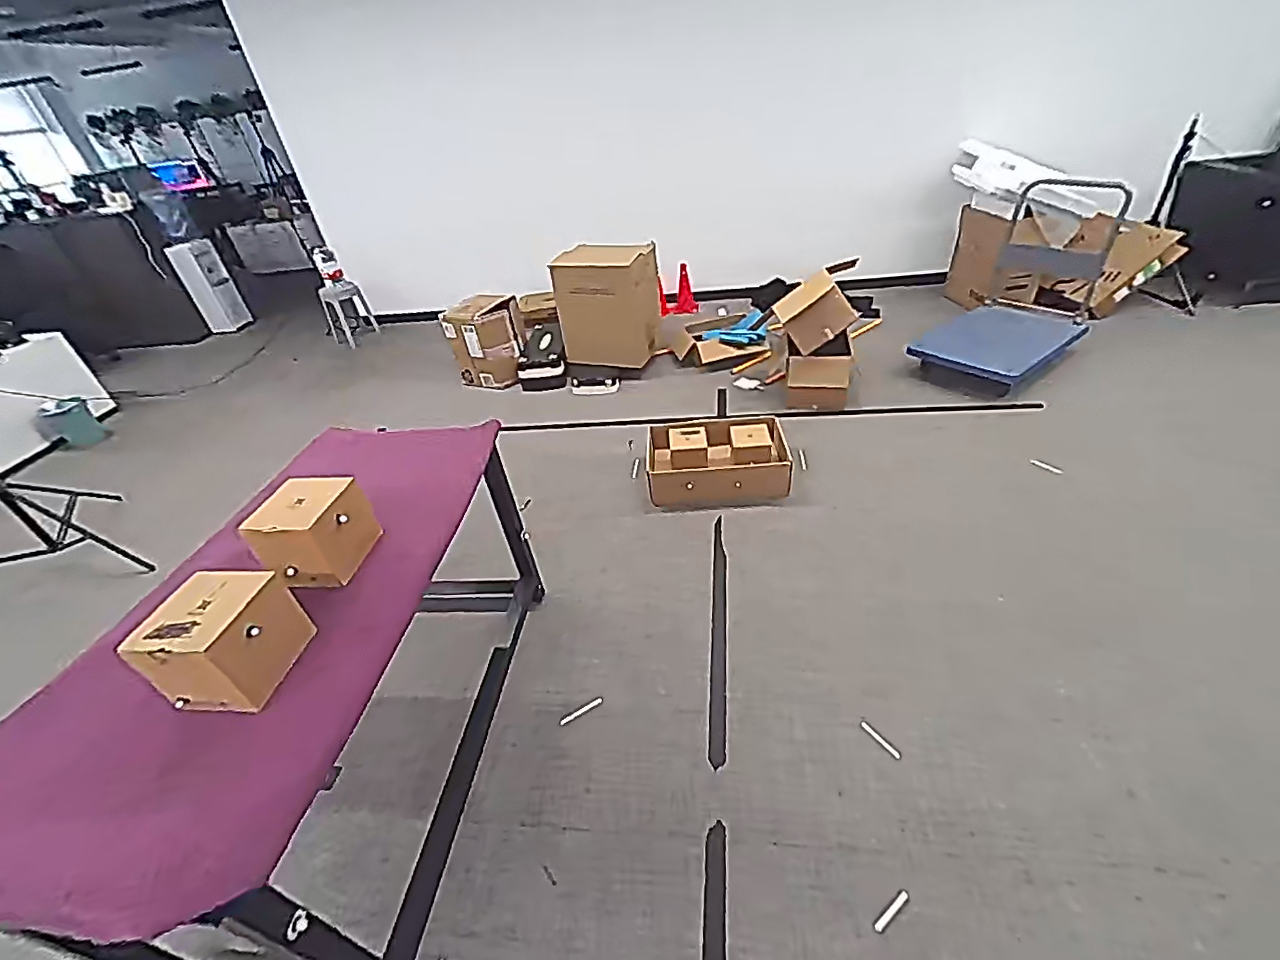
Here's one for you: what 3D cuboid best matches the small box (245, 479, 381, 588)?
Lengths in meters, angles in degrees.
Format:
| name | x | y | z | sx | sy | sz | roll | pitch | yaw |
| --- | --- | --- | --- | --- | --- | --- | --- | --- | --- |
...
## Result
| name | x | y | z | sx | sy | sz | roll | pitch | yaw |
| --- | --- | --- | --- | --- | --- | --- | --- | --- | --- |
| small box | -0.705 | 0.116 | 1.194 | 0.168 | 0.176 | 0.179 | -1 | 37 | 9 |

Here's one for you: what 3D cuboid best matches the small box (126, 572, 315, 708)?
| name | x | y | z | sx | sy | sz | roll | pitch | yaw |
| --- | --- | --- | --- | --- | --- | --- | --- | --- | --- |
| small box | -0.727 | 0.285 | 0.966 | 0.168 | 0.176 | 0.179 | -1 | 36 | 9 |

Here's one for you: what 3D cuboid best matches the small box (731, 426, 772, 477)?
| name | x | y | z | sx | sy | sz | roll | pitch | yaw |
| --- | --- | --- | --- | --- | --- | --- | --- | --- | --- |
| small box | 0.504 | -0.125 | 2.440 | 0.168 | 0.176 | 0.179 | -3 | 35 | 6 |
